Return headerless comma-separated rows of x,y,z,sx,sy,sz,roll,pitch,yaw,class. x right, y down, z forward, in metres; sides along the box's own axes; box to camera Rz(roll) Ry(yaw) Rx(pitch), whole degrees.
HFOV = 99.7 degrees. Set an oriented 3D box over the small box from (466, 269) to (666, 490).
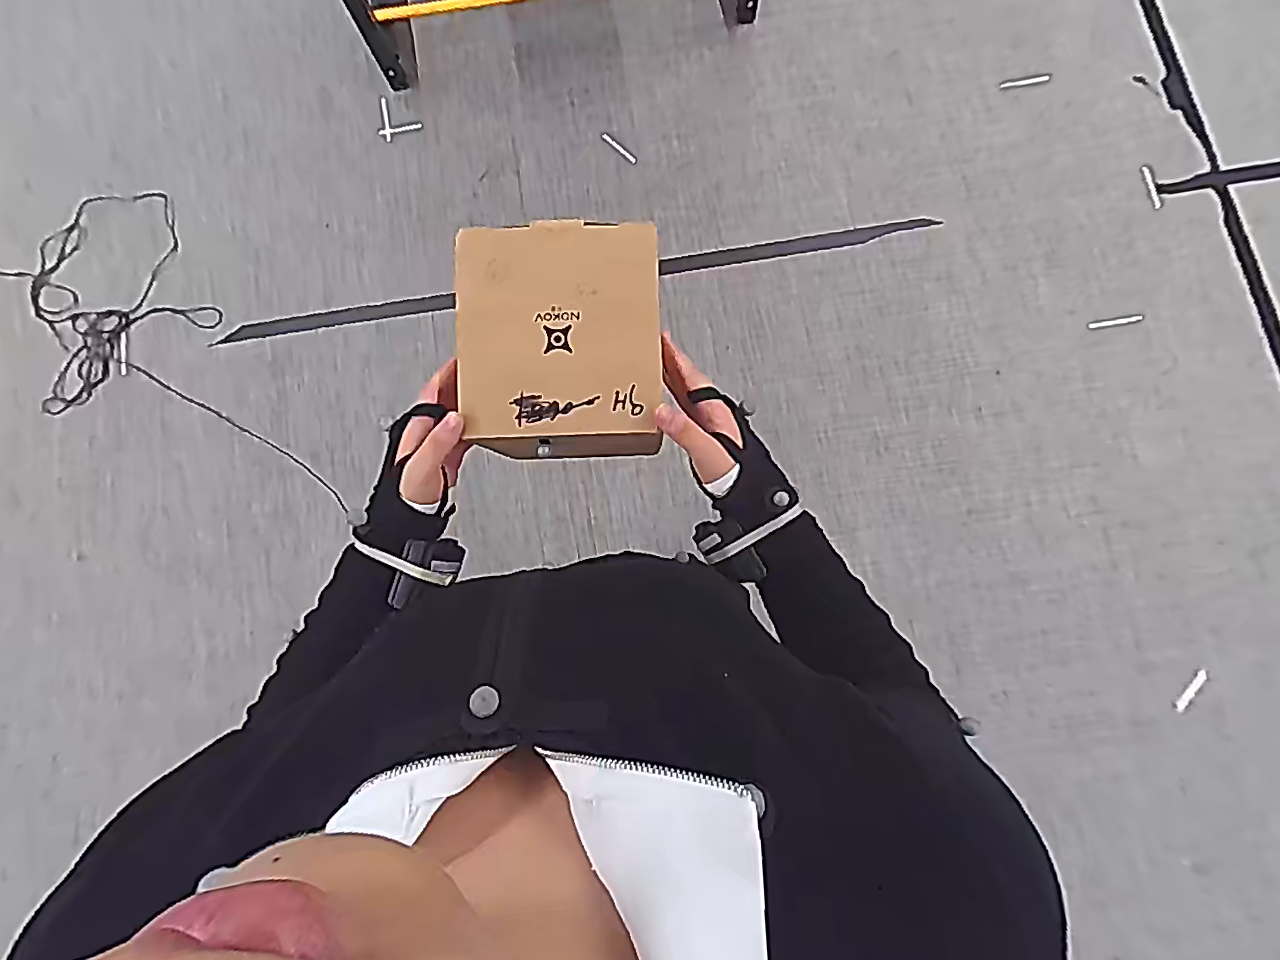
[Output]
-0.062,-0.084,0.527,0.168,0.176,0.179,-2,86,0,small box
